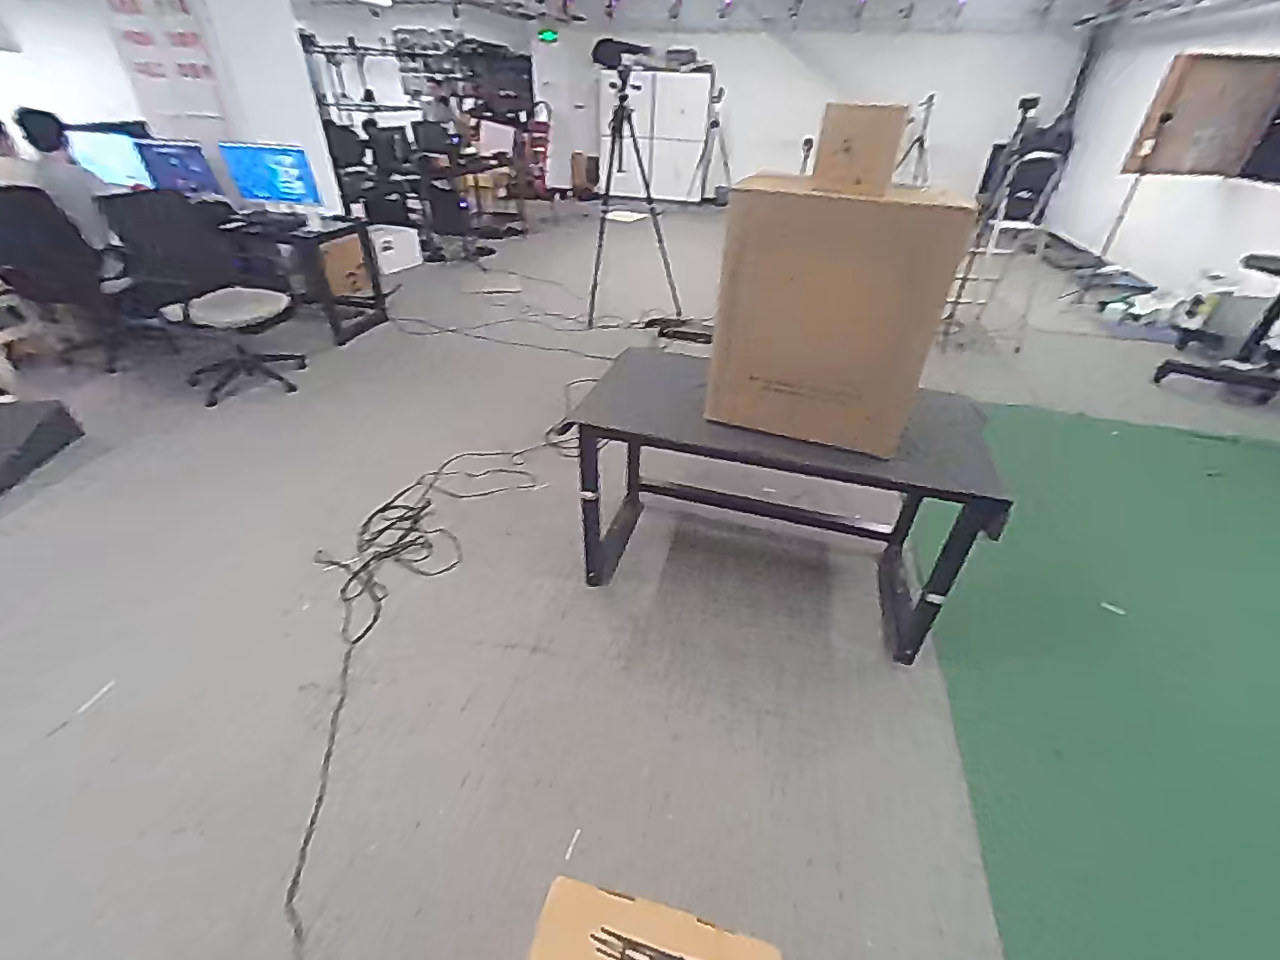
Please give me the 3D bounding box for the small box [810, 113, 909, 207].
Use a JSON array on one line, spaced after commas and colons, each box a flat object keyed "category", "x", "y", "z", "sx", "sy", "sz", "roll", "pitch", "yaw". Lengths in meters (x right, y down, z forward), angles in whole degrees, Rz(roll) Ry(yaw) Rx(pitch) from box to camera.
[{"category": "small box", "x": 0.493, "y": -0.727, "z": 1.225, "sx": 0.168, "sy": 0.176, "sz": 0.179, "roll": 16, "pitch": 39, "yaw": 19}]
